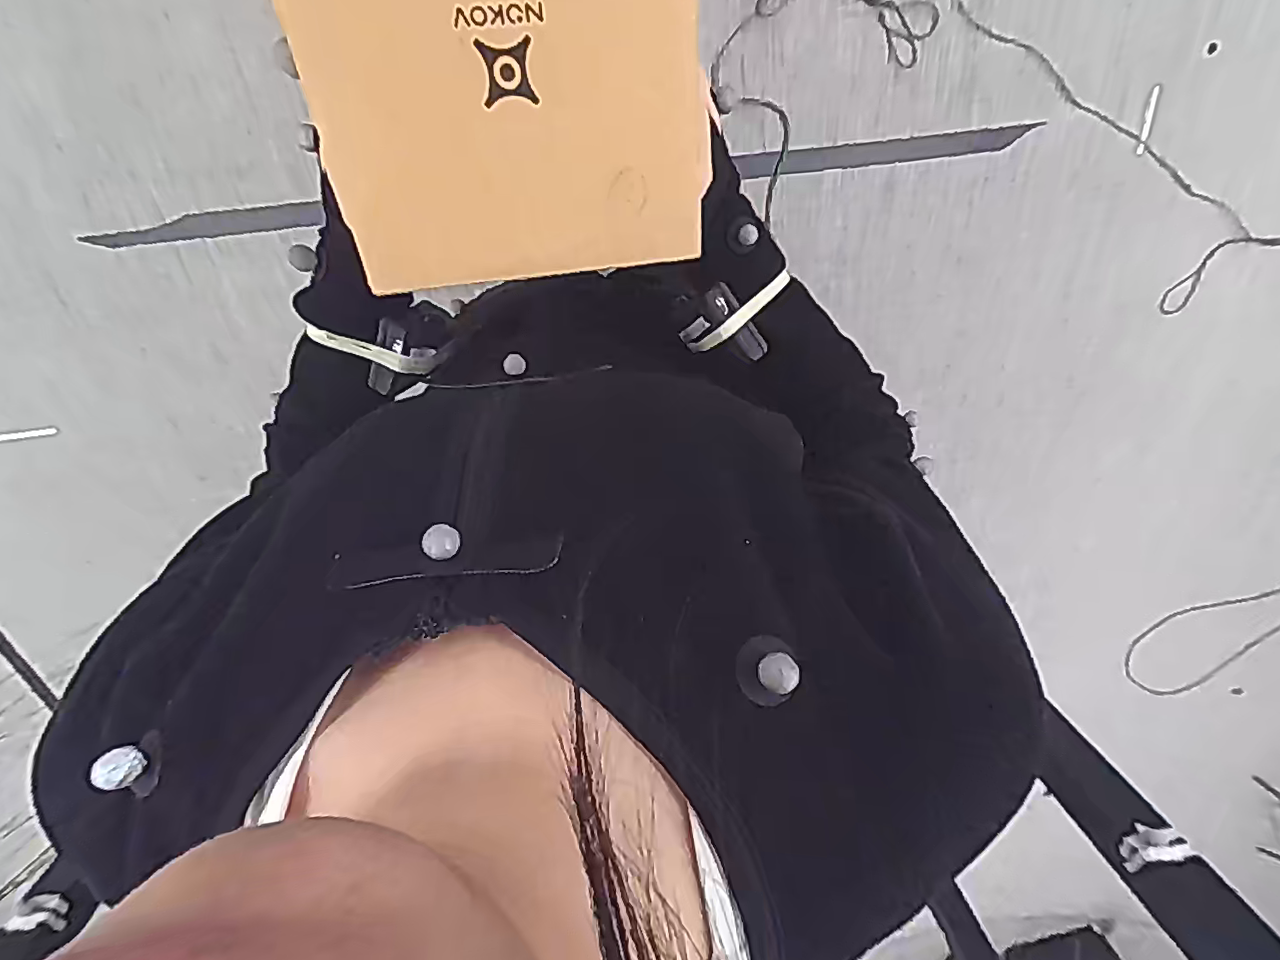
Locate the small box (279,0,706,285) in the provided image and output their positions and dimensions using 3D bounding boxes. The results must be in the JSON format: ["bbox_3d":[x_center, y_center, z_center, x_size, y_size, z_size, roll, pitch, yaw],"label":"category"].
[{"bbox_3d":[-0.065,-0.218,0.284,0.168,0.176,0.179,-9,123,-6],"label":"small box"}]
